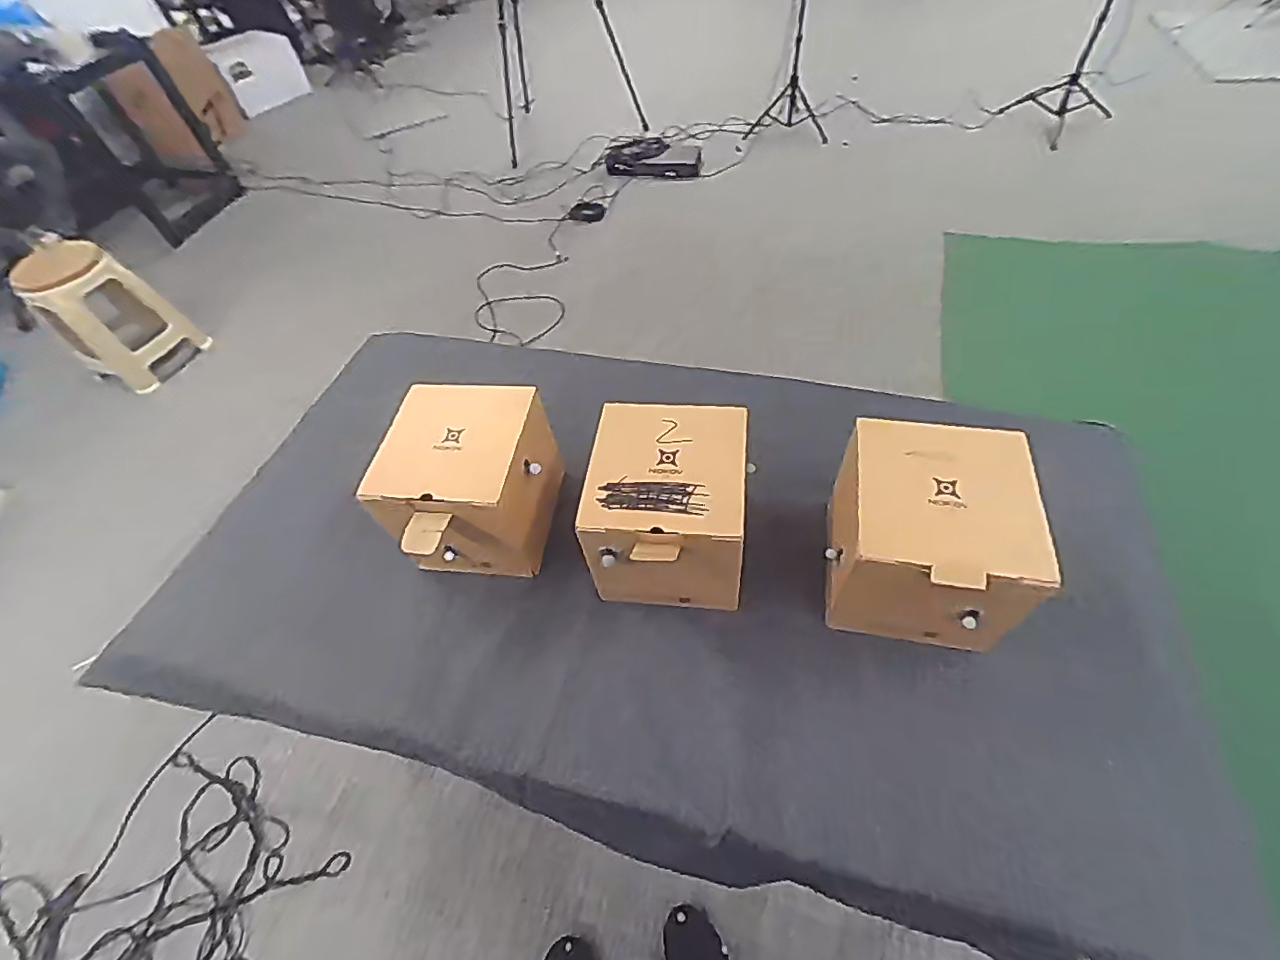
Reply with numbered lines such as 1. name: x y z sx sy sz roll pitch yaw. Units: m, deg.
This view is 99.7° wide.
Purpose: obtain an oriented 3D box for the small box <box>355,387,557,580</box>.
1. small box: -0.210 0.005 0.680 0.168 0.176 0.179 2 54 8

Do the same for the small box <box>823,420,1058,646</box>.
1. small box: 0.298 0.060 0.581 0.168 0.176 0.179 6 54 10
